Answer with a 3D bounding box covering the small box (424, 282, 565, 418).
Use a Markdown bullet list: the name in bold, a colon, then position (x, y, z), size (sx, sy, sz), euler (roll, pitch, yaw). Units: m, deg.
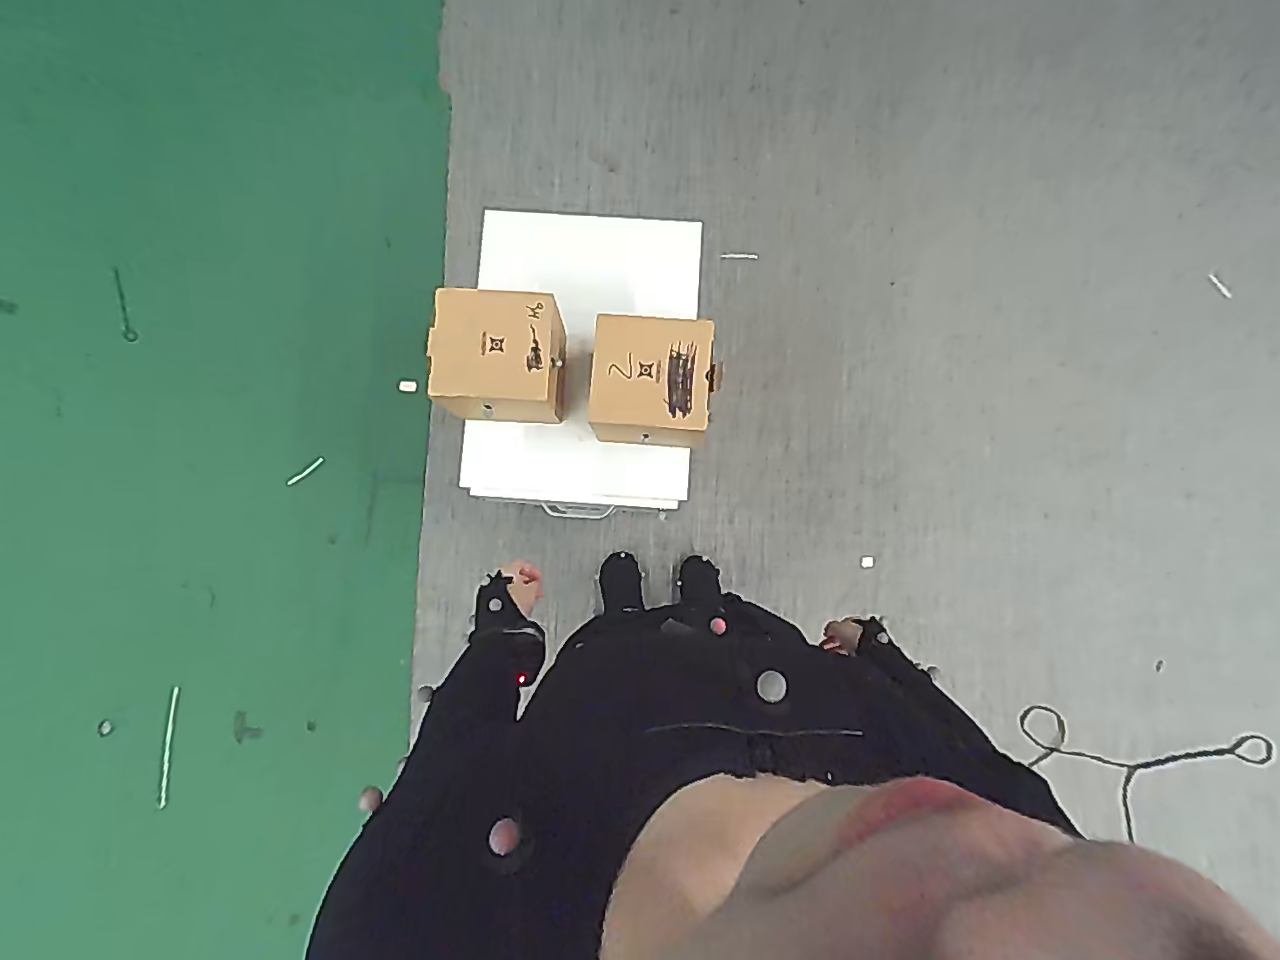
- **small box**: position (-0.221, -0.197, 0.863), size (0.179, 0.176, 0.168), euler (3, 84, -1)
